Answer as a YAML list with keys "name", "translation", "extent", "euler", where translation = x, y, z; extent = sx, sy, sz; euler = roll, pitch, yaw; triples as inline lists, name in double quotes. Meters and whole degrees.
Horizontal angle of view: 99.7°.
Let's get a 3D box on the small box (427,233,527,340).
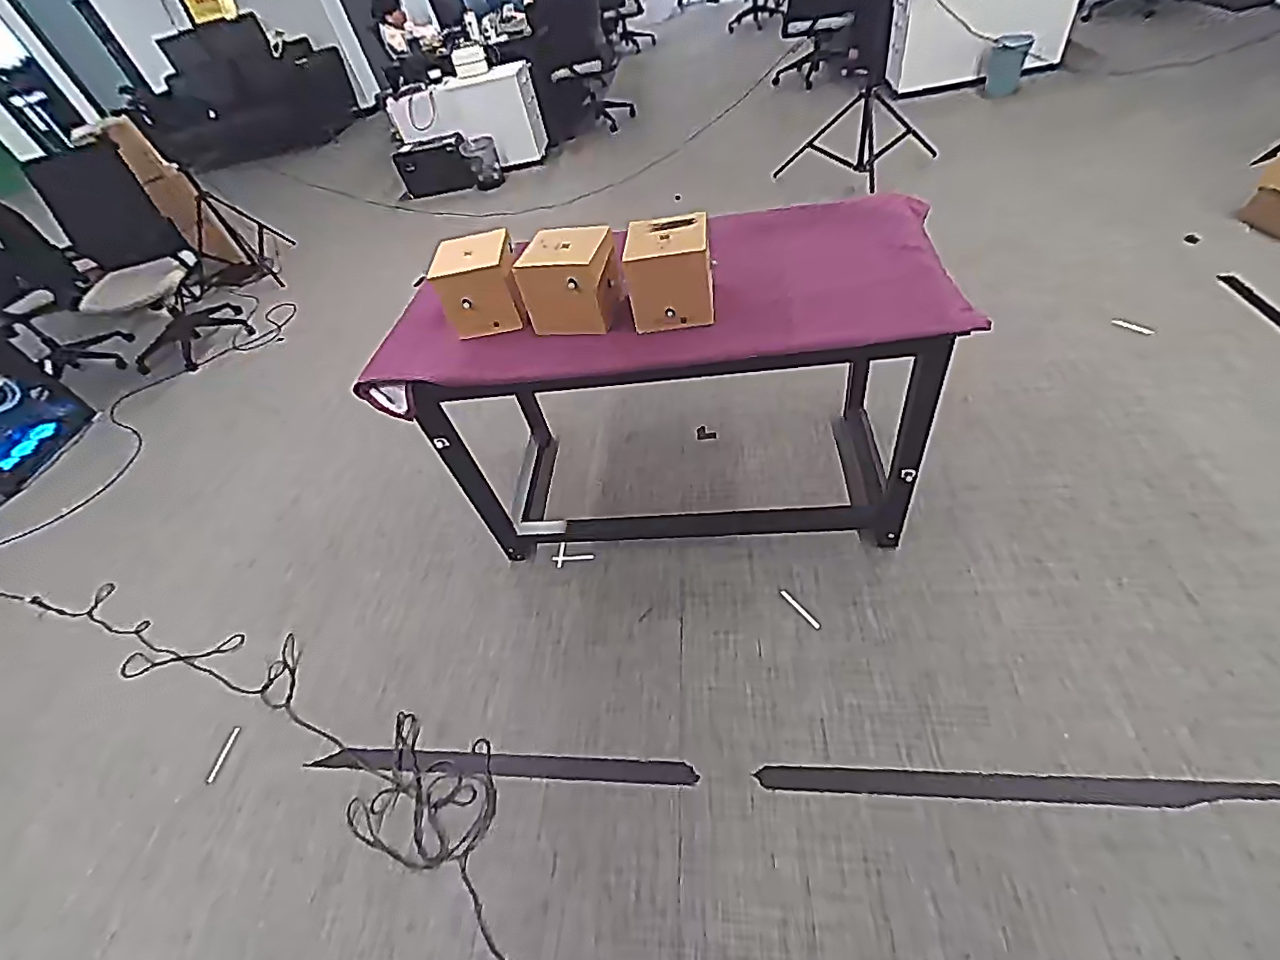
- name: "small box"
  translation: [-0.377, -0.450, 1.282]
  extent: [0.168, 0.176, 0.179]
  euler: [-10, 48, 5]
